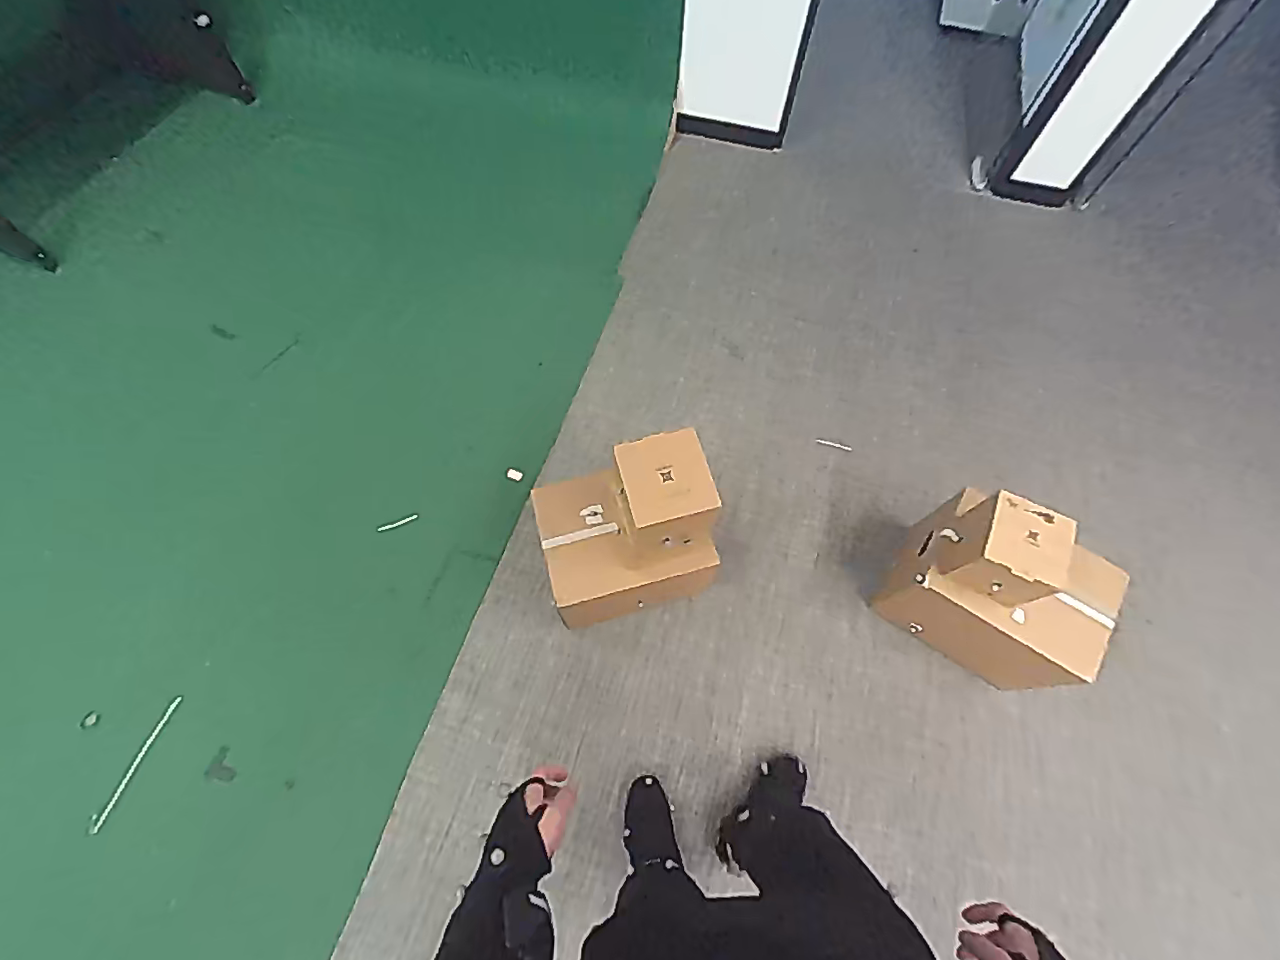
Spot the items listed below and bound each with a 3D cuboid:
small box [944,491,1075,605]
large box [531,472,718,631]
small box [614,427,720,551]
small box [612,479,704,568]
[{"bbox_3d":[0.818,0.159,1.213,0.168,0.176,0.179,26,68,10],"label":"small box"},{"bbox_3d":[-0.043,0.181,1.457,0.408,0.320,0.320,-15,65,-7],"label":"large box"},{"bbox_3d":[0.046,0.023,1.081,0.168,0.176,0.179,-13,67,-6],"label":"small box"},{"bbox_3d":[0.039,0.085,1.231,0.179,0.176,0.168,-15,66,-8],"label":"small box"}]
